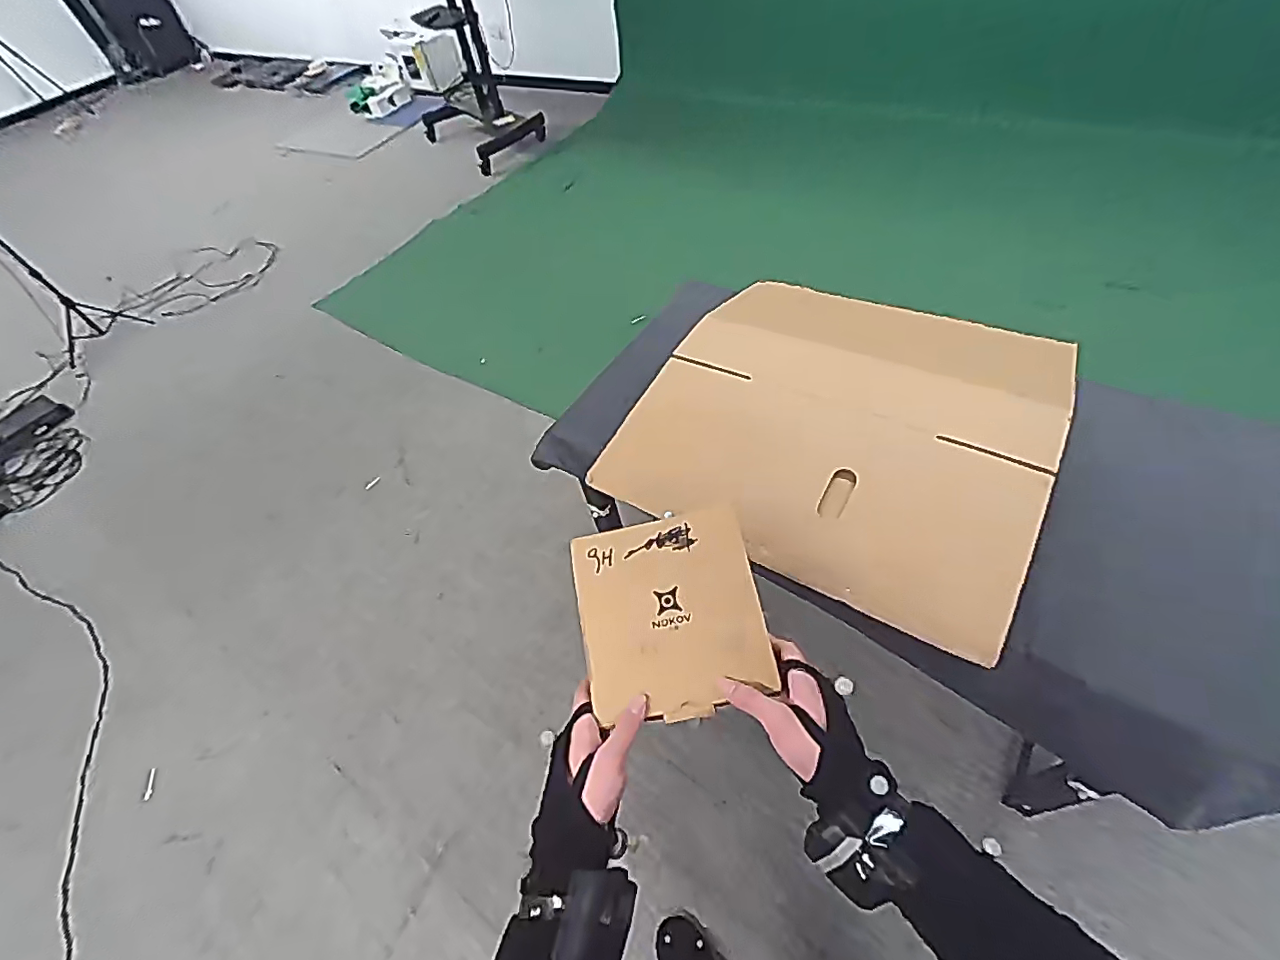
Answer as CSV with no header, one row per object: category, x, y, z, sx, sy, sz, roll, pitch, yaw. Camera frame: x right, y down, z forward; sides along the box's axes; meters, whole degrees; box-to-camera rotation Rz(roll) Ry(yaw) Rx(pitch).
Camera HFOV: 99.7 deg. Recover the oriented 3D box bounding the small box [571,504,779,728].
small box,0.039,0.149,0.576,0.168,0.176,0.179,-15,66,3
